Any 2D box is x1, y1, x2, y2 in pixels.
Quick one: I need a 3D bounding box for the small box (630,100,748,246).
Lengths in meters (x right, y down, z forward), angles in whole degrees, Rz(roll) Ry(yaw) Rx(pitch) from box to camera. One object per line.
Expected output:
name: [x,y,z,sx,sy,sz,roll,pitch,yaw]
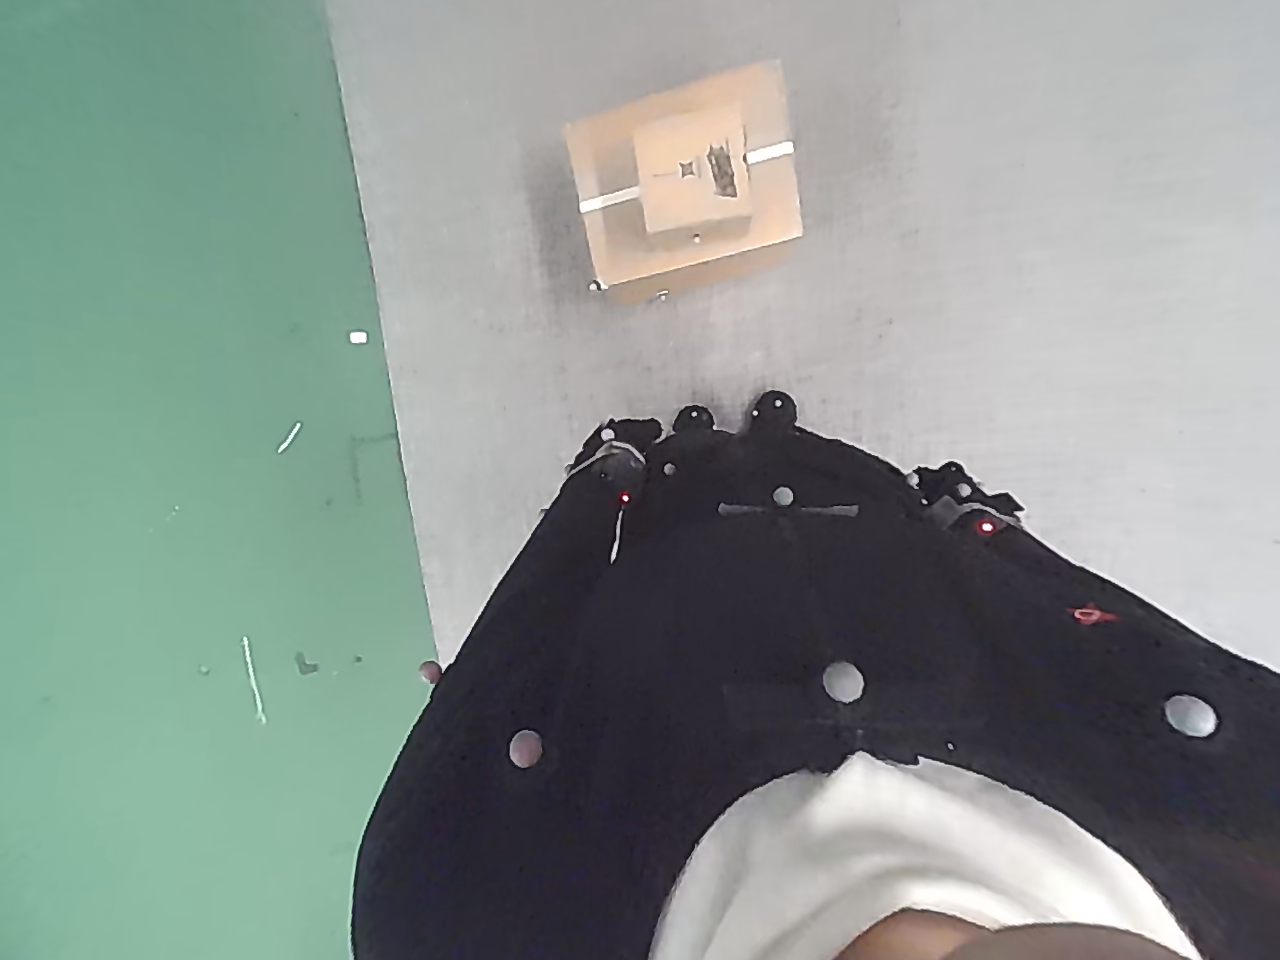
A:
small box: [0.089,-0.522,0.945,0.179,0.176,0.168,-6,102,10]
